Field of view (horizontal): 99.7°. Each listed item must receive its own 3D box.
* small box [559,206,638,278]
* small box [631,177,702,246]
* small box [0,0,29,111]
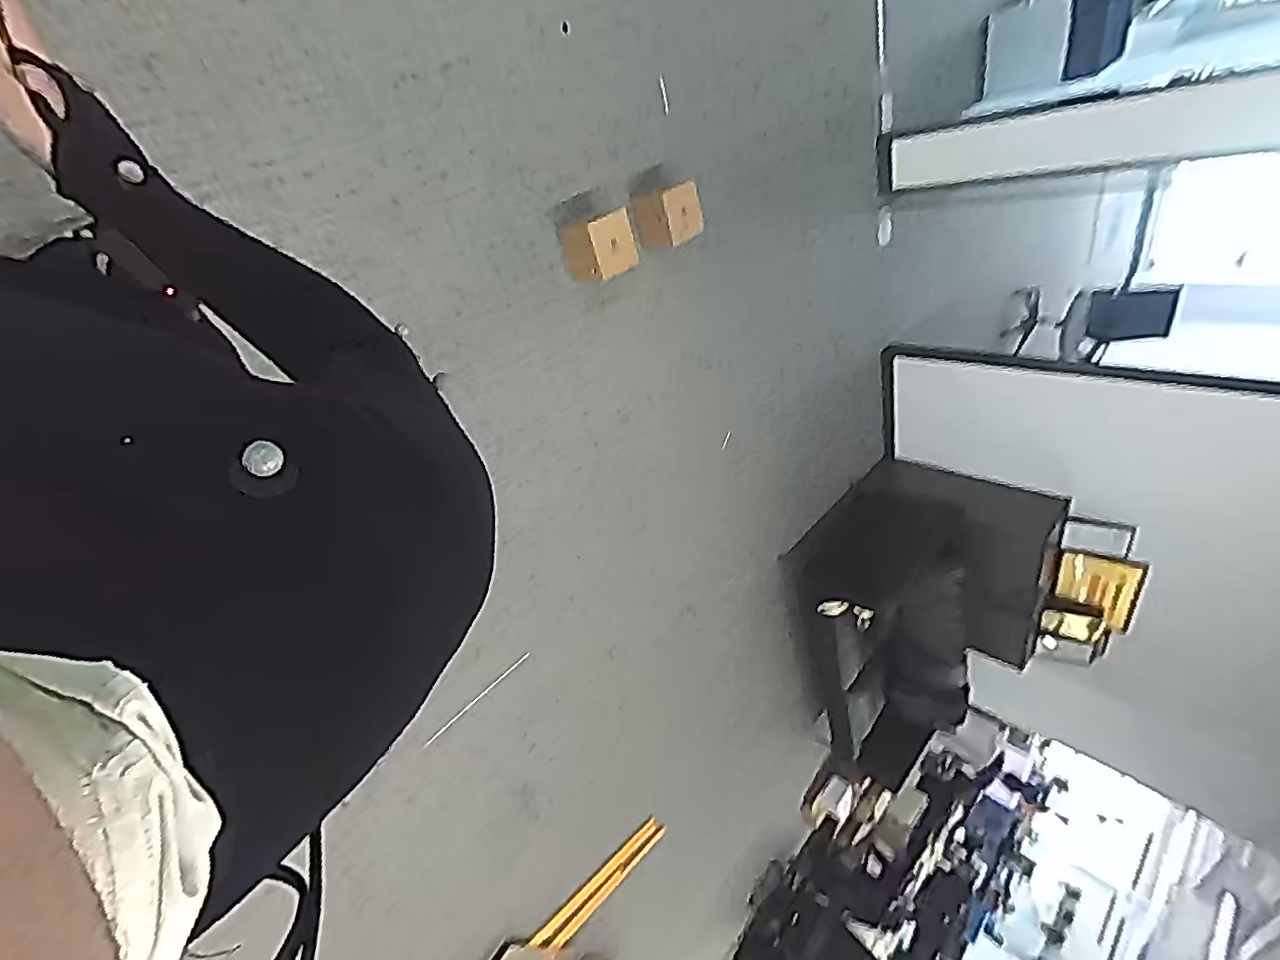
[{"bbox_3d":[-0.139,-0.776,1.773,0.168,0.176,0.179,-39,130,-26],"label":"small box"},{"bbox_3d":[0.092,-0.949,1.921,0.168,0.176,0.179,-38,129,-26],"label":"small box"},{"bbox_3d":[-0.586,-0.385,0.384,0.179,0.176,0.168,-16,117,-41],"label":"small box"}]
